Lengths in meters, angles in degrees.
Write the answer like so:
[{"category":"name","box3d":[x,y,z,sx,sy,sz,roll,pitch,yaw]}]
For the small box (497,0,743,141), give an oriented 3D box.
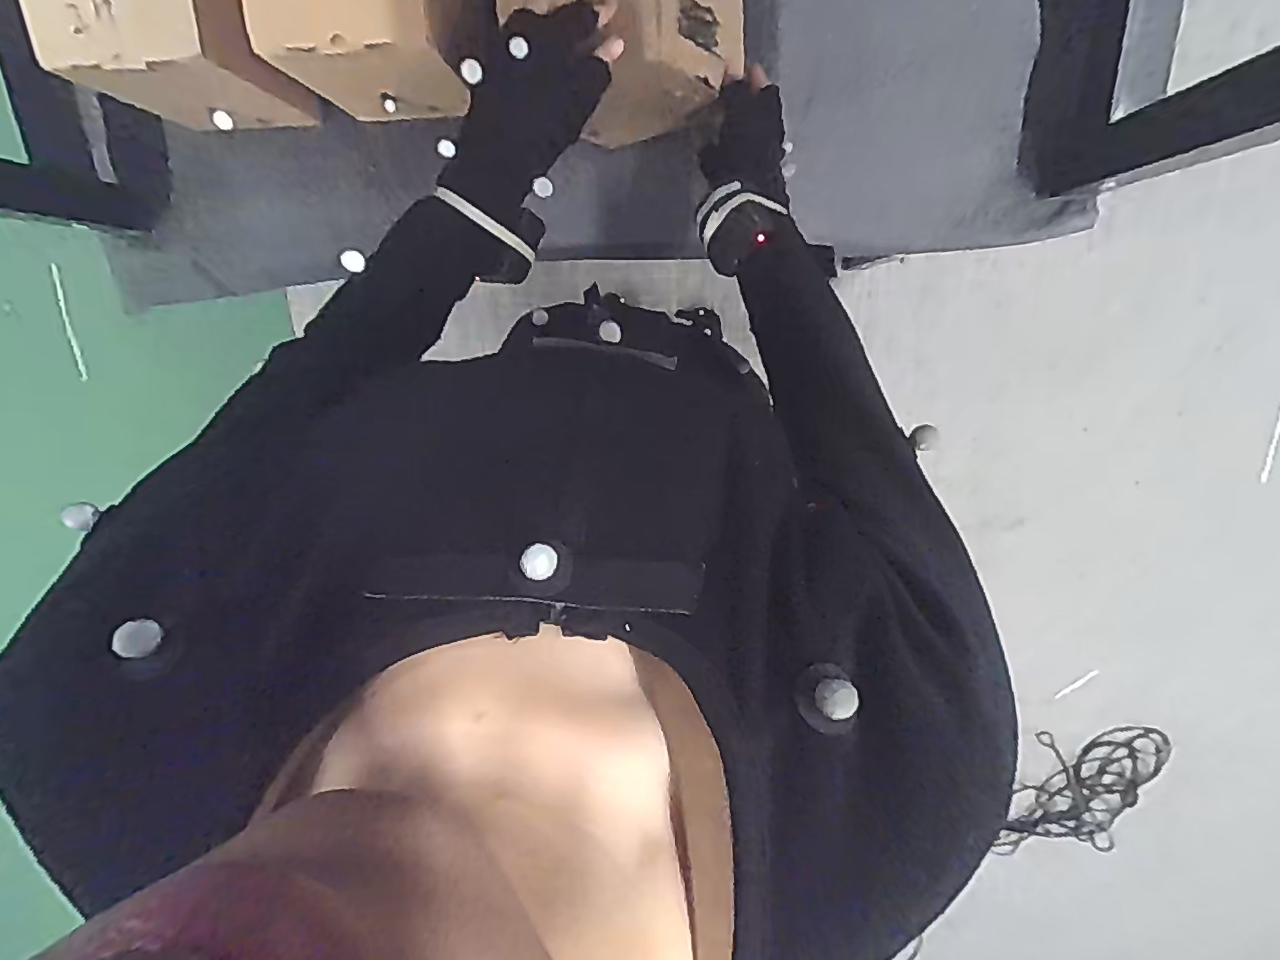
[{"category":"small box","box3d":[-0.016,-0.438,0.494,0.176,0.168,0.179,6,108,31]}]
